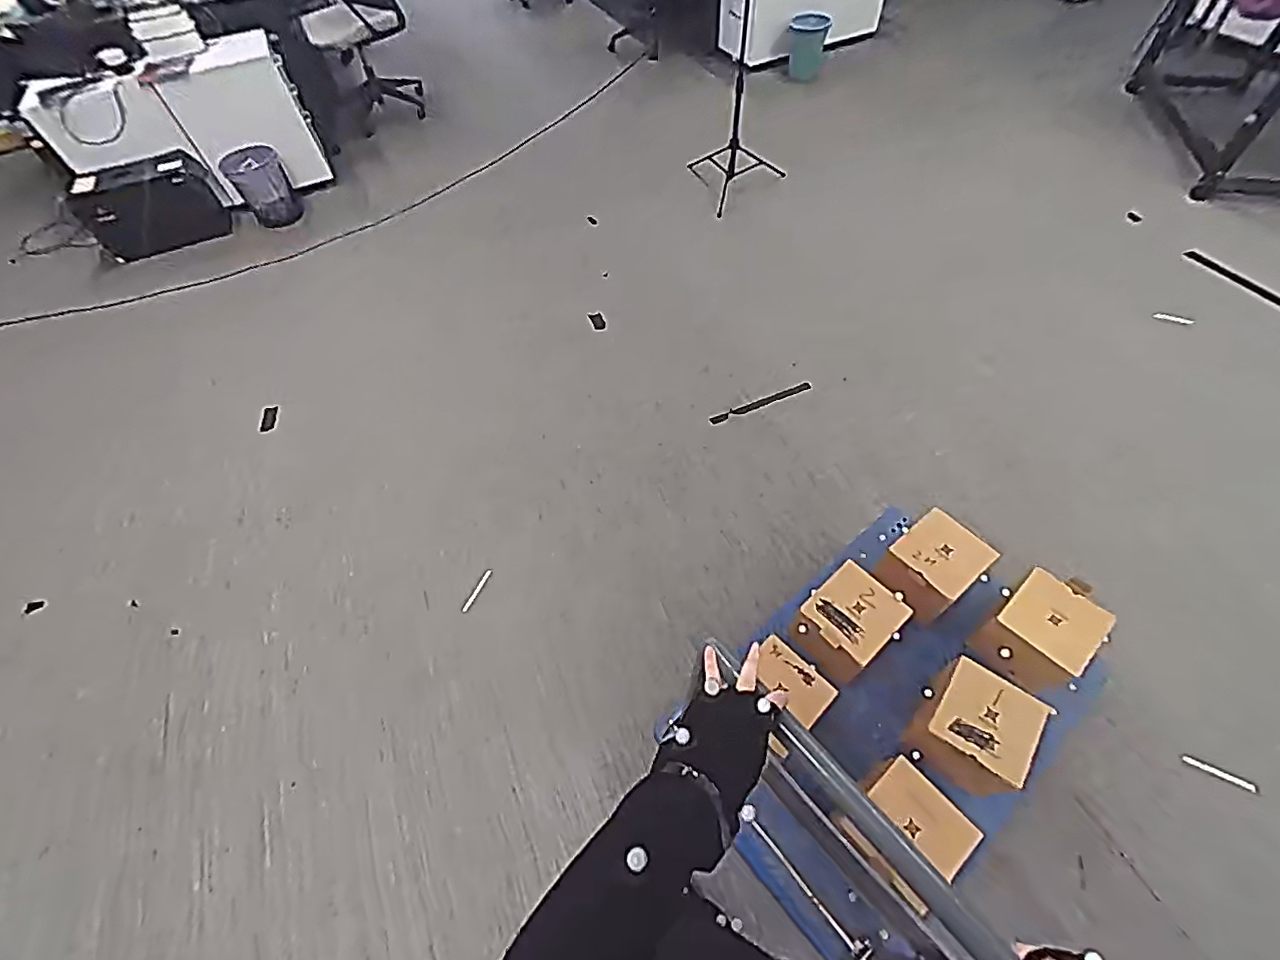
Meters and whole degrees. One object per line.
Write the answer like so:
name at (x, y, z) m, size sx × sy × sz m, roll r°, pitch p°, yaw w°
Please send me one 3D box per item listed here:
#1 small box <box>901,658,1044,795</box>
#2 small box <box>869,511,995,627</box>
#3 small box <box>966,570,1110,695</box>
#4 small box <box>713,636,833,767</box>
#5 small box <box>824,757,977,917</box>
small box at (0.651, 0.497, 1.080) m, size 0.168 × 0.176 × 0.179 m, roll 32°, pitch 63°, yaw 22°
small box at (0.673, 0.213, 1.270) m, size 0.179 × 0.176 × 0.168 m, roll -34°, pitch 60°, yaw -17°
small box at (0.850, 0.337, 1.176) m, size 0.179 × 0.176 × 0.168 m, roll -38°, pitch 61°, yaw -20°
small box at (0.268, 0.466, 1.125) m, size 0.179 × 0.176 × 0.168 m, roll -39°, pitch 63°, yaw -20°
small box at (0.462, 0.648, 0.991) m, size 0.179 × 0.176 × 0.168 m, roll -35°, pitch 61°, yaw -19°
